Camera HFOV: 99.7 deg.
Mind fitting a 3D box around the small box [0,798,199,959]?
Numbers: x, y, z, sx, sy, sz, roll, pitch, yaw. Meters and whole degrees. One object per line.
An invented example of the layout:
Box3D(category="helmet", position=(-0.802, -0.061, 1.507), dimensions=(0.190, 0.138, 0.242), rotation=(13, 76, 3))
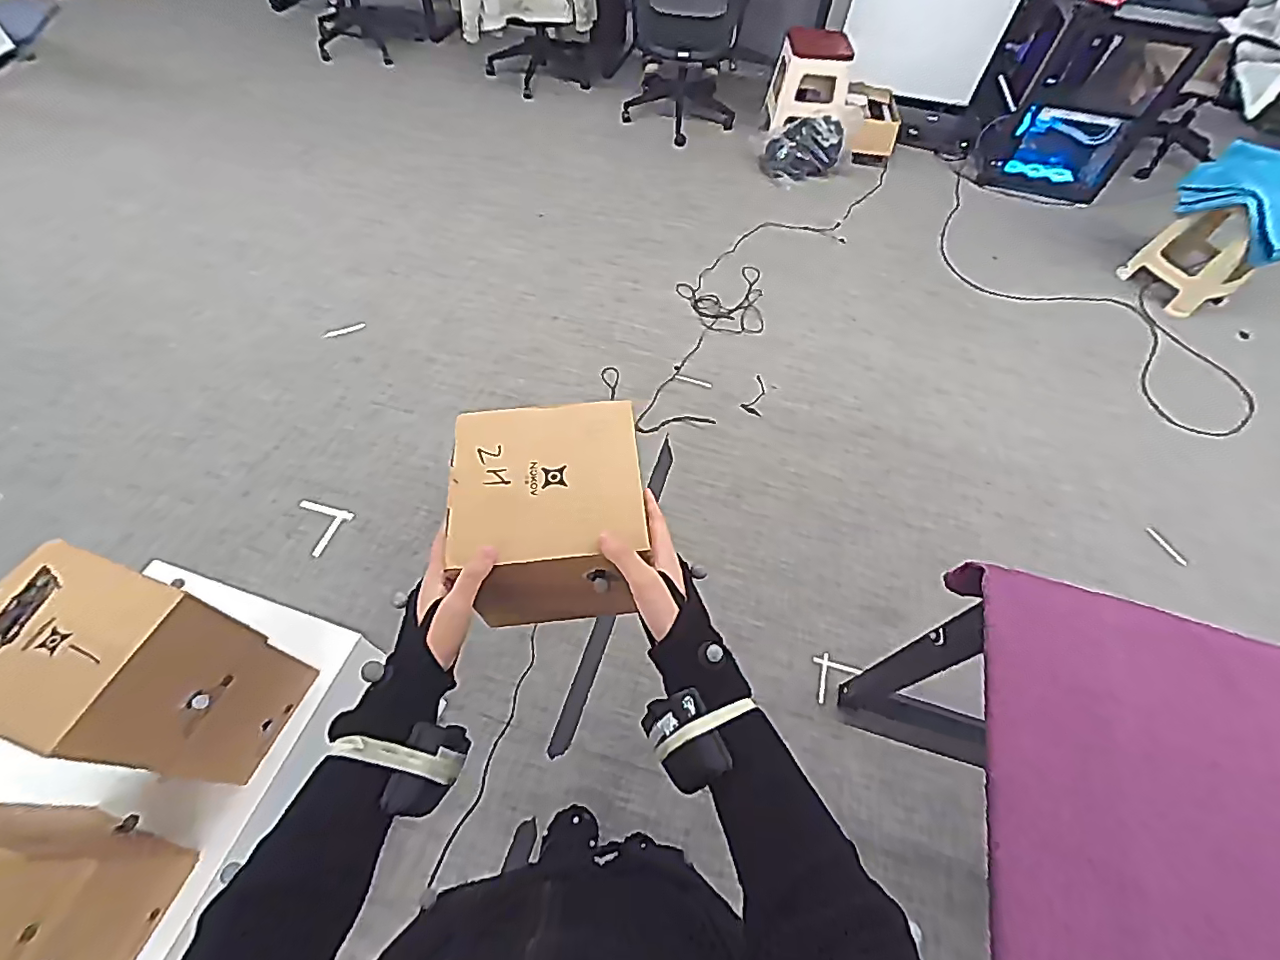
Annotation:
Box3D(category="small box", position=(-0.665, 0.478, 0.599), dimensions=(0.179, 0.176, 0.168), rotation=(16, 59, 9))

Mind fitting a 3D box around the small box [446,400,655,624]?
Box3D(category="small box", position=(-0.082, 0.039, 0.557), dimensions=(0.179, 0.176, 0.168), rotation=(-6, 59, -3))

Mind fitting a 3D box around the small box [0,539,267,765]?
Box3D(category="small box", position=(-0.571, 0.195, 0.591), dimensions=(0.179, 0.176, 0.168), rotation=(19, 59, 7))
